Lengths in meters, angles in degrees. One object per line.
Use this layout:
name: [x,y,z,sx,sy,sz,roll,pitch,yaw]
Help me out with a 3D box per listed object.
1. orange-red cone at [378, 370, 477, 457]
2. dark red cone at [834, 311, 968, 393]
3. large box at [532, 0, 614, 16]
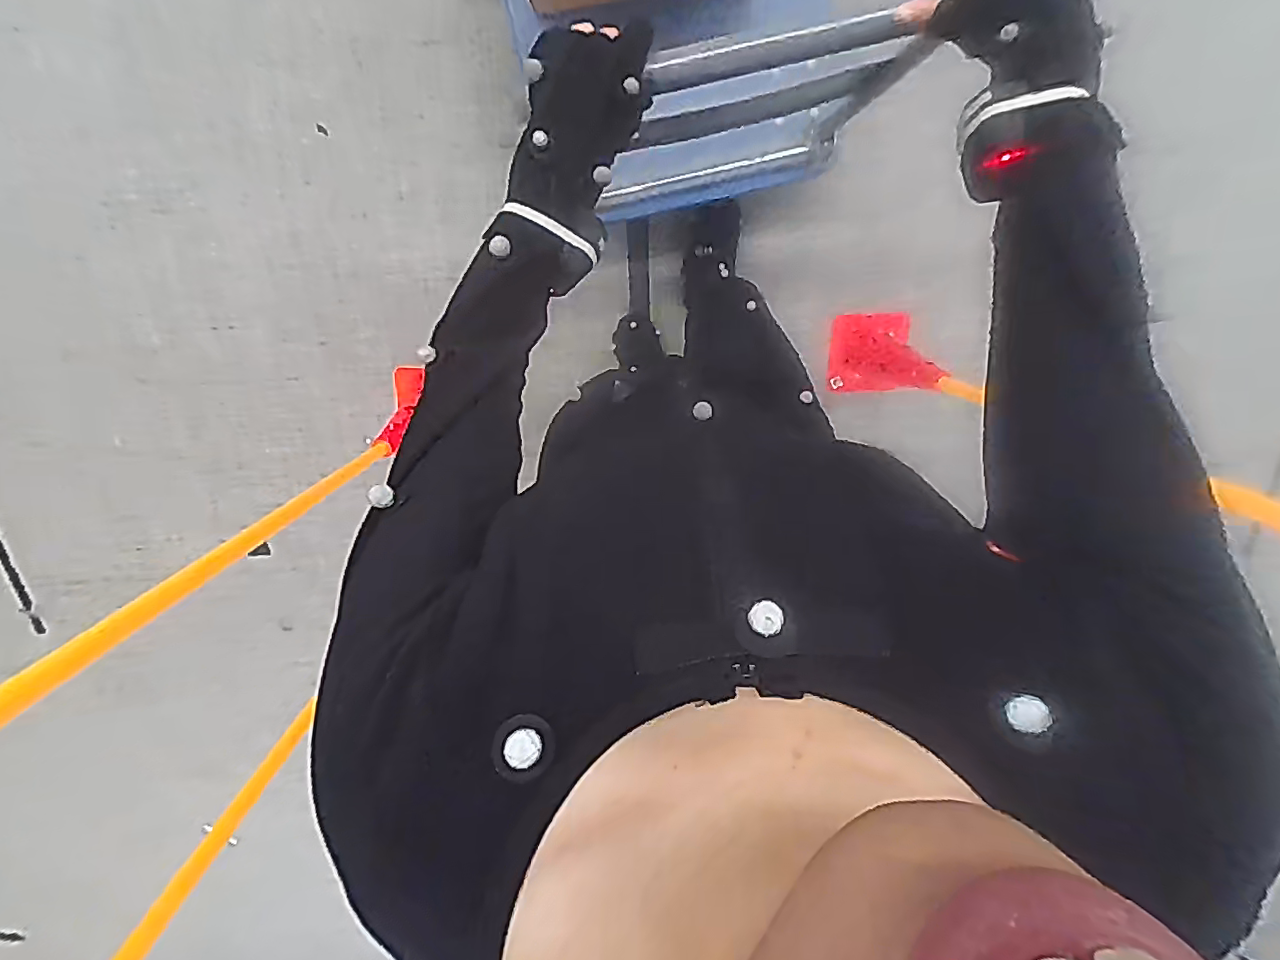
orange-red cone: [-0.524,-0.128,1.263,0.198,0.360,0.199,4,110,-4]
dark red cone: [0.602,-0.262,1.219,0.201,0.394,0.202,-4,112,-2]
large box: [-0.017,-0.964,0.790,0.408,0.320,0.320,-10,112,3]
